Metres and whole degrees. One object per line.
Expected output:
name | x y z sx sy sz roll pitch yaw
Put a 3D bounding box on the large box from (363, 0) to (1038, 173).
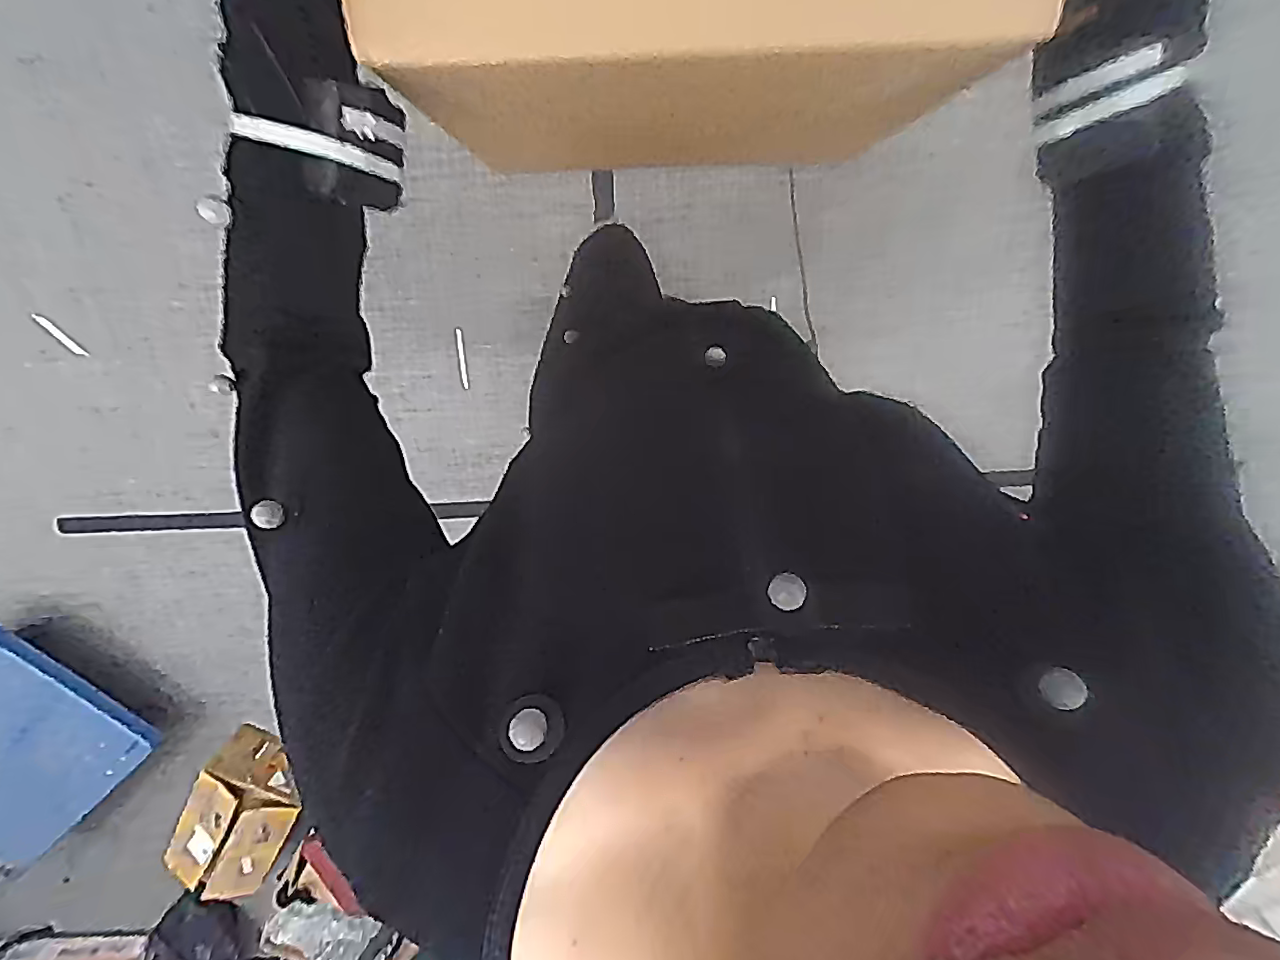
large box | 0.027 -0.452 0.415 0.408 0.320 0.320 -2 109 0
